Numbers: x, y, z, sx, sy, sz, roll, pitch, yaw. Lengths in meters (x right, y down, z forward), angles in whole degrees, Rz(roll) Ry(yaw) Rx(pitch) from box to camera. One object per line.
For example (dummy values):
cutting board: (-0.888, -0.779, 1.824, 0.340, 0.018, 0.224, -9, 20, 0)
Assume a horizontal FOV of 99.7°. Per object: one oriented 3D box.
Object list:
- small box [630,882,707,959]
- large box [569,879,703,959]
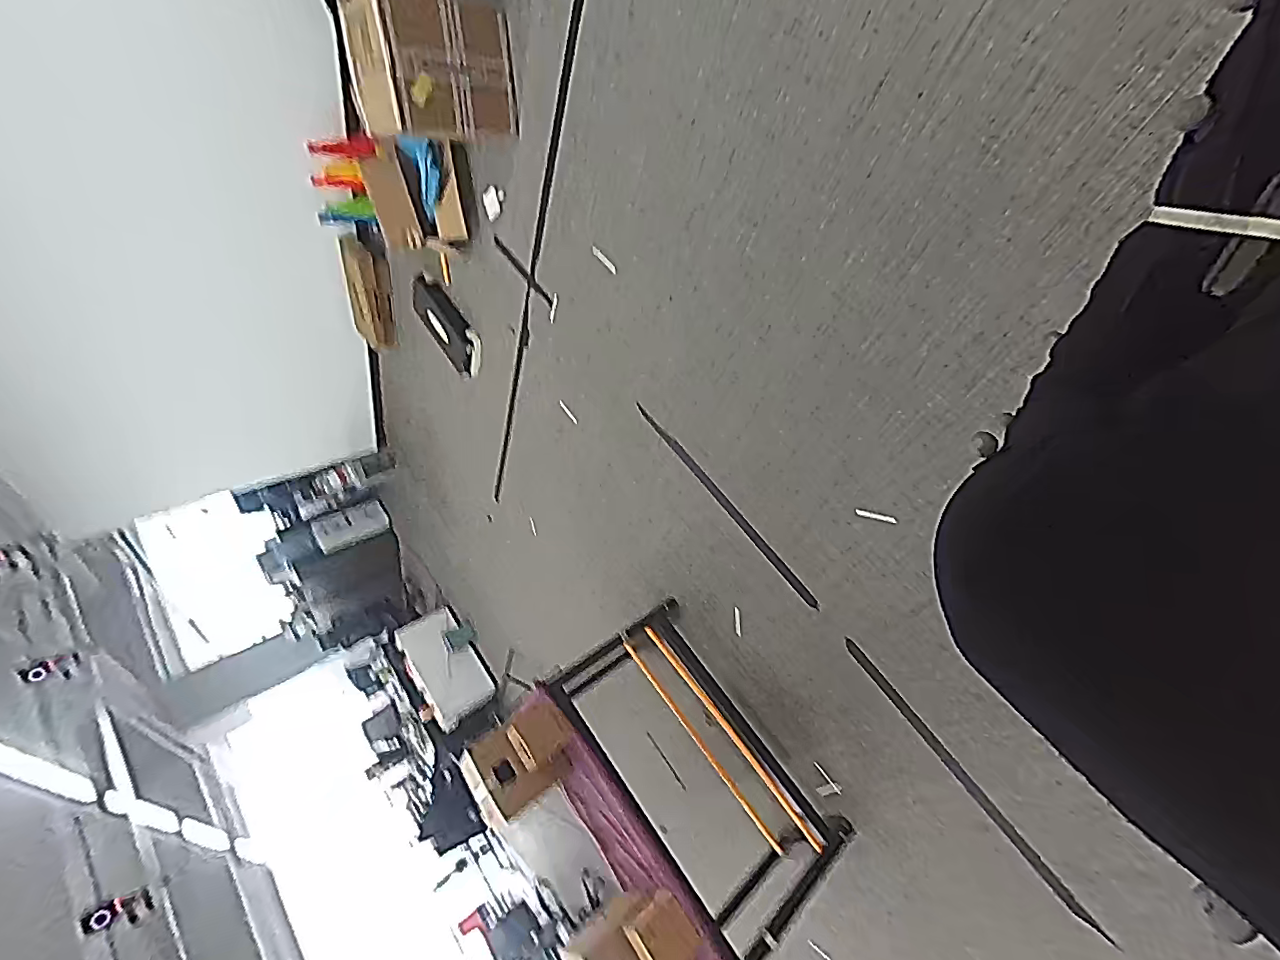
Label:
small box: (0.099, 1.523, 1.849, 0.179, 0.176, 0.168, 50, 144, 21)
large box: (-0.025, 1.787, 2.053, 0.320, 0.320, 0.408, 51, 141, 20)
